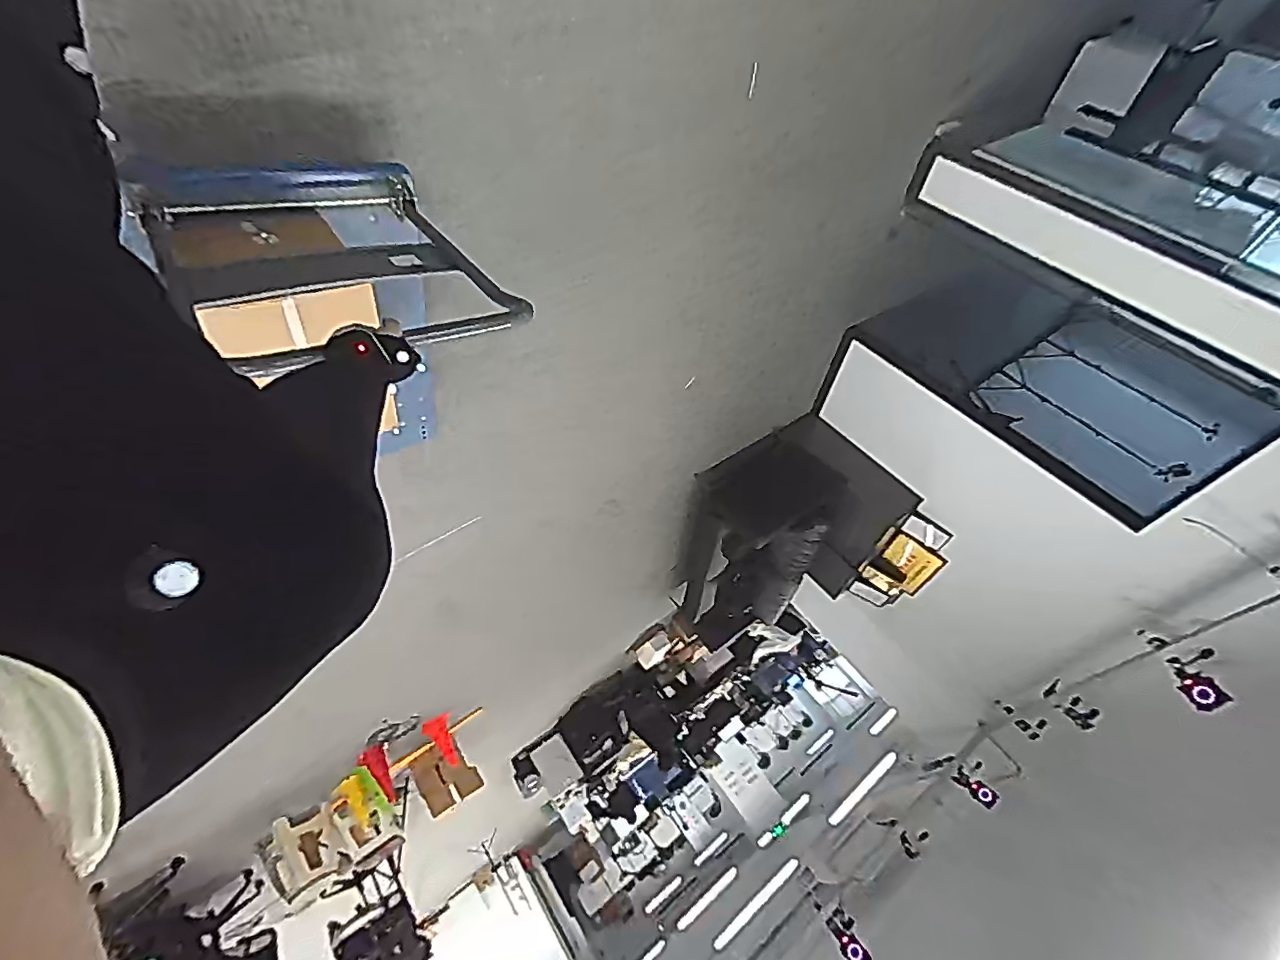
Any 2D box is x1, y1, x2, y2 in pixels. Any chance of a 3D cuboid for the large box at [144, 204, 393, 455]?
[{"bbox_3d":[-0.798,-0.336,1.208,0.320,0.320,0.408,-24,149,-31],"label":"large box"}]
